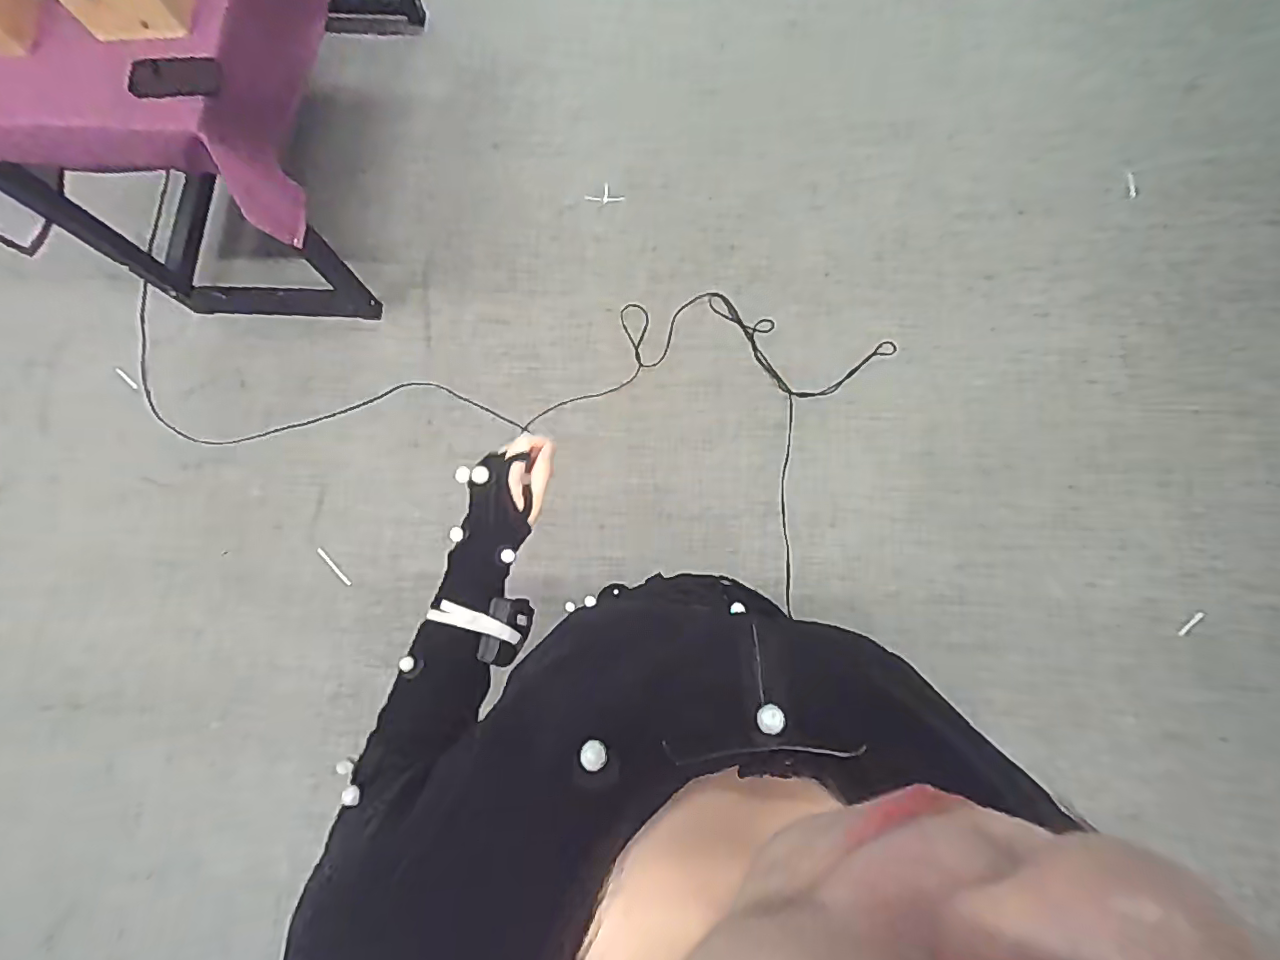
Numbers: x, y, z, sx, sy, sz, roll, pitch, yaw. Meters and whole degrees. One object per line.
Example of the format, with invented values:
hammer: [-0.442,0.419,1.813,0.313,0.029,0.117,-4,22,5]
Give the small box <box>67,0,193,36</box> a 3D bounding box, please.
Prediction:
small box: [-0.906,-0.904,0.926,0.168,0.176,0.179,-3,77,-1]
